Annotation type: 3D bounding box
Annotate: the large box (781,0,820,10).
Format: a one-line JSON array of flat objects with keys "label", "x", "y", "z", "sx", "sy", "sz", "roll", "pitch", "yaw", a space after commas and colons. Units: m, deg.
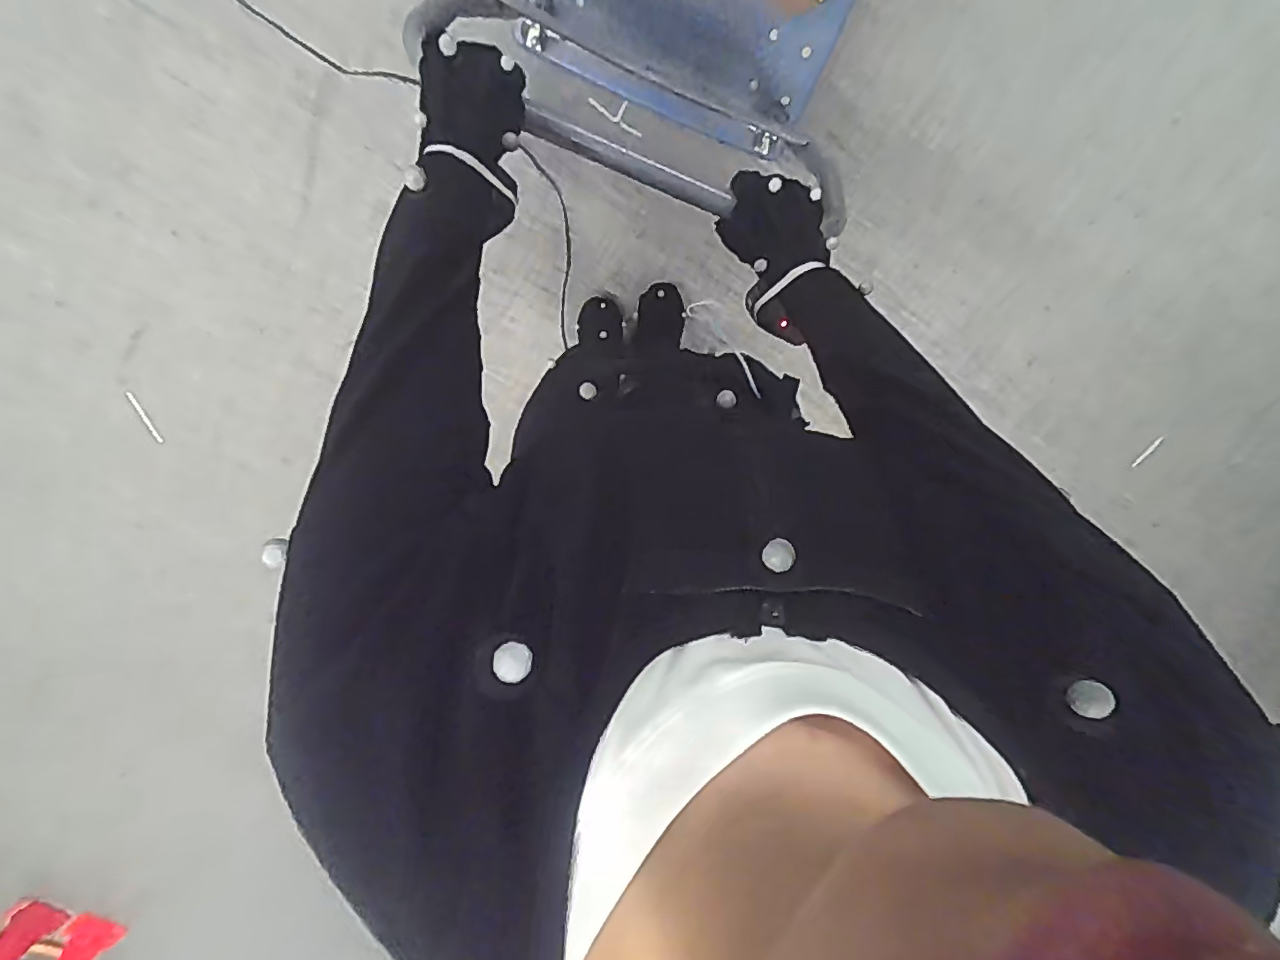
[{"label": "large box", "x": 0.196, "y": -0.947, "z": 0.724, "sx": 0.408, "sy": 0.320, "sz": 0.320, "roll": 32, "pitch": 122, "yaw": -18}]
